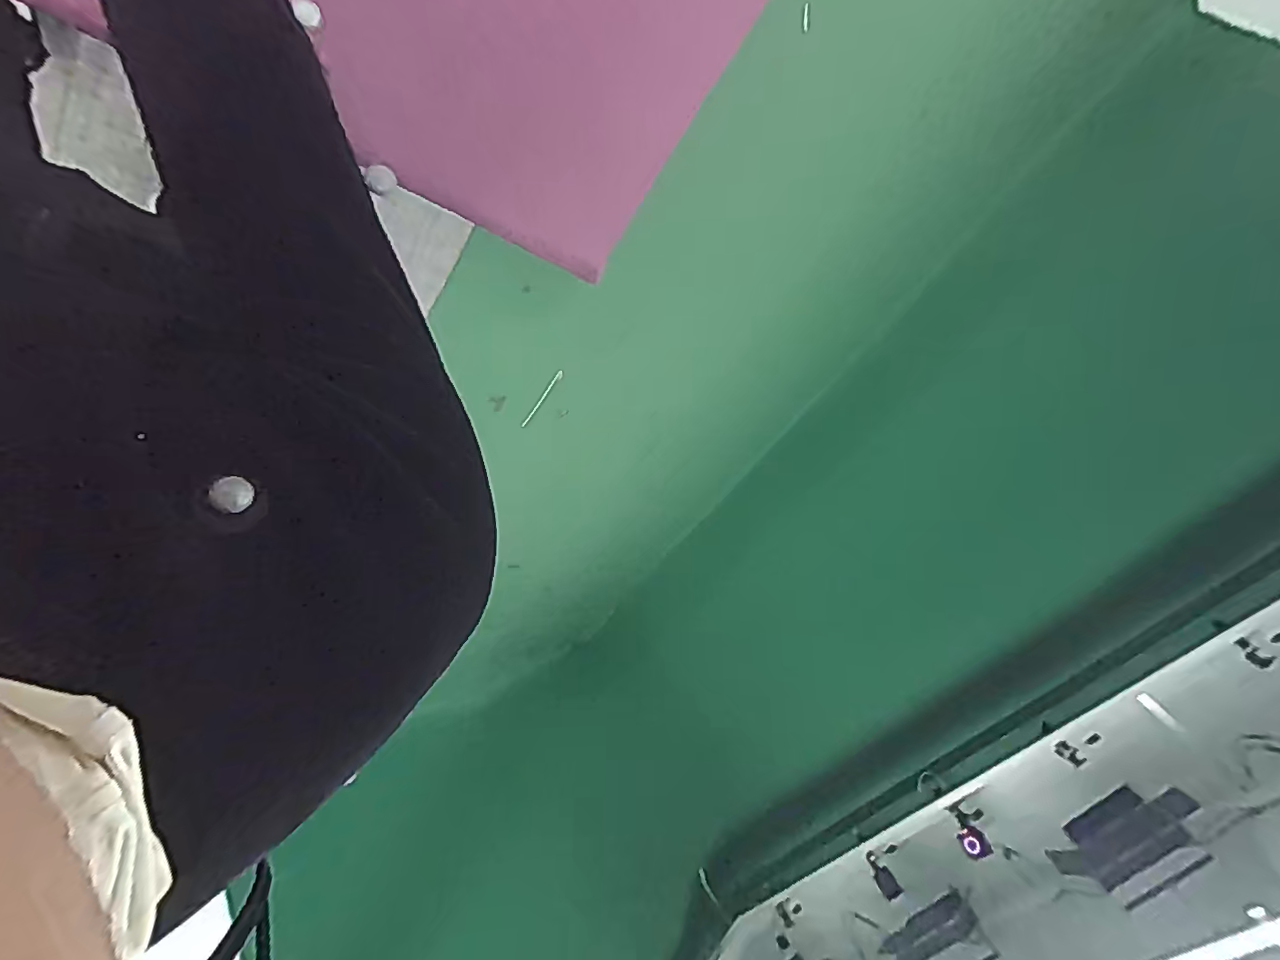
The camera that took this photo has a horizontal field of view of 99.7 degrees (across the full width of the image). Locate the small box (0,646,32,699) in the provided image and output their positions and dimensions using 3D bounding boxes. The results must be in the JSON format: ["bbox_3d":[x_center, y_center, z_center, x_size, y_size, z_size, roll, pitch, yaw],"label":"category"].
[{"bbox_3d":[-2.003,0.562,1.650,0.179,0.176,0.168,-48,152,22],"label":"small box"}]
